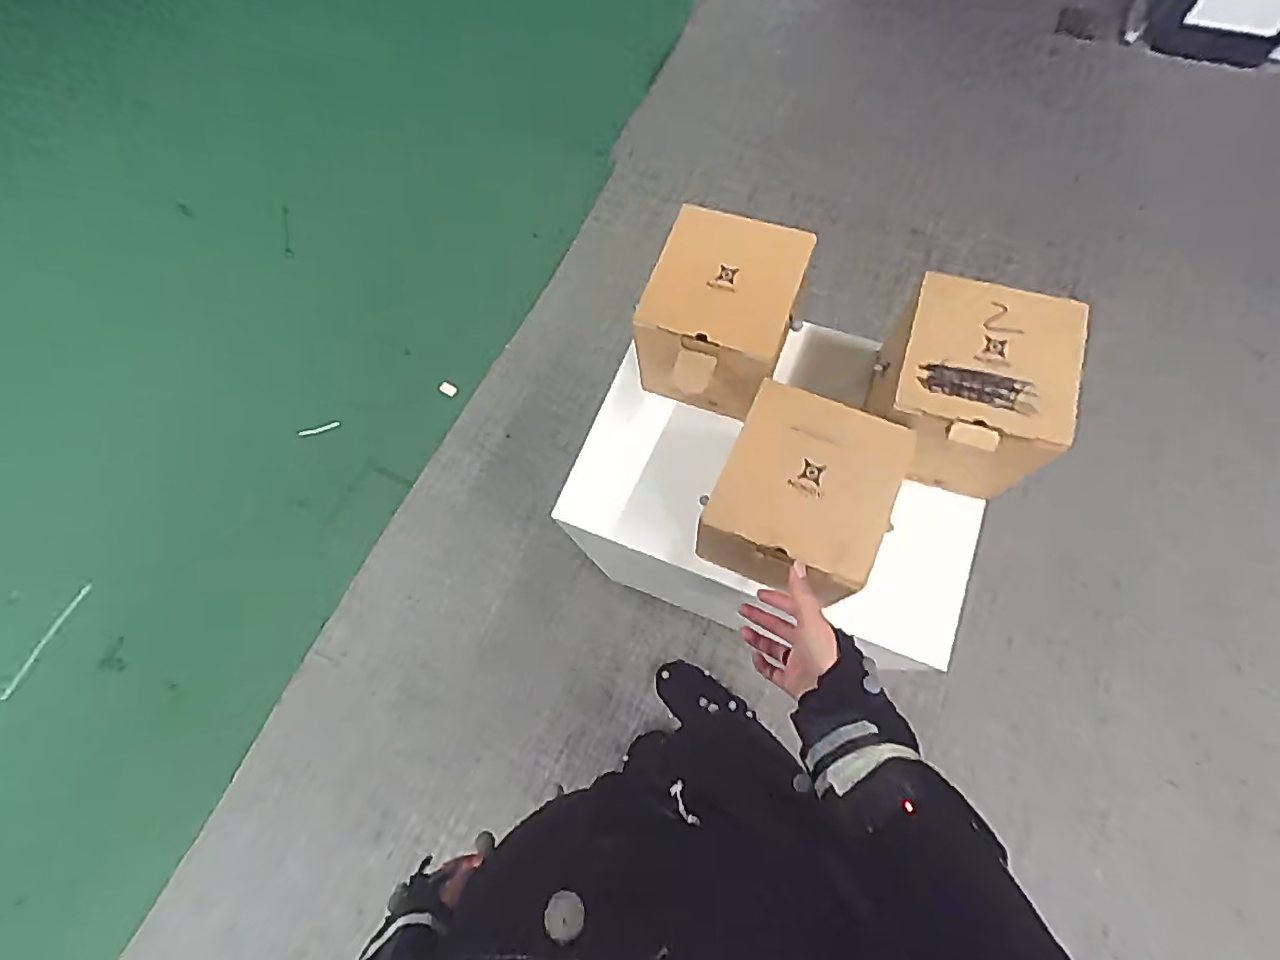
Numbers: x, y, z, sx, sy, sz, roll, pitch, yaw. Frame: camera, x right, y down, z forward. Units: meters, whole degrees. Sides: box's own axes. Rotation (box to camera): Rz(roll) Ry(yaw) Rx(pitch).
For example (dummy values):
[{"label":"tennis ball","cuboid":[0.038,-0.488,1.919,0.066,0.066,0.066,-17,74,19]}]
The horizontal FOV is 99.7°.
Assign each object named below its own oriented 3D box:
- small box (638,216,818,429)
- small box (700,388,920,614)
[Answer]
[{"label":"small box","cuboid":[0.108,-0.193,0.694,0.168,0.176,0.179,19,75,11]},{"label":"small box","cuboid":[0.177,0.034,0.607,0.168,0.176,0.179,24,73,13]}]
